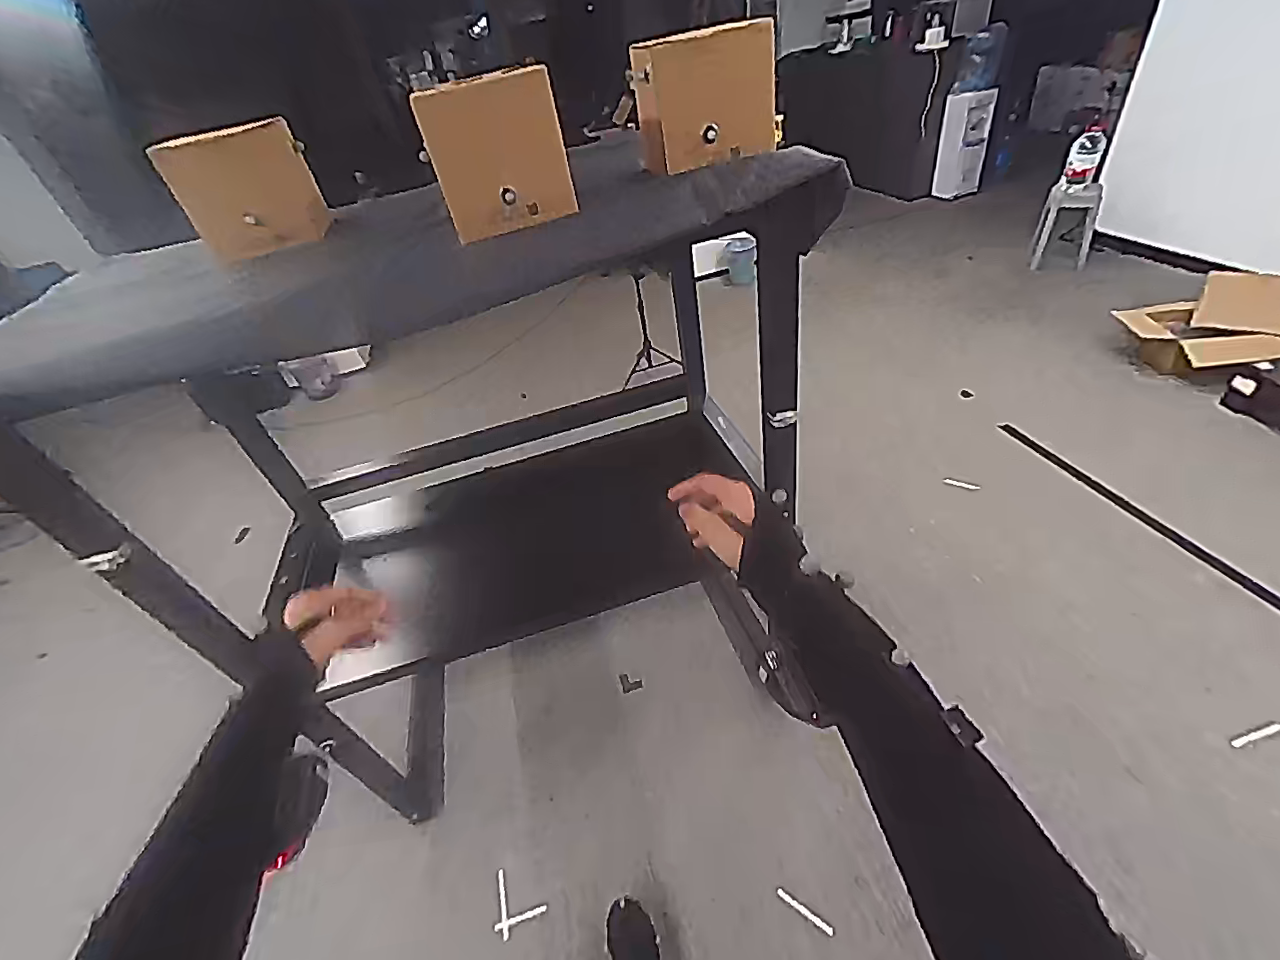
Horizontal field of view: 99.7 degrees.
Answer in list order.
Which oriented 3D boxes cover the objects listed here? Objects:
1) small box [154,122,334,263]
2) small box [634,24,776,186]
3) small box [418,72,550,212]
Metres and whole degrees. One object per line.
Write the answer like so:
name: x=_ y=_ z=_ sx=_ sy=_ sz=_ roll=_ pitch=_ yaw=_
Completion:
small box: x=-0.643 y=-0.484 z=0.909 sx=0.168 sy=0.176 sz=0.179 roll=-19 pitch=41 yaw=-8
small box: x=0.095 y=-0.557 z=0.811 sx=0.168 sy=0.176 sz=0.179 roll=-14 pitch=39 yaw=-2
small box: x=-0.262 y=-0.572 z=0.920 sx=0.168 sy=0.176 sz=0.179 roll=-18 pitch=39 yaw=-8
